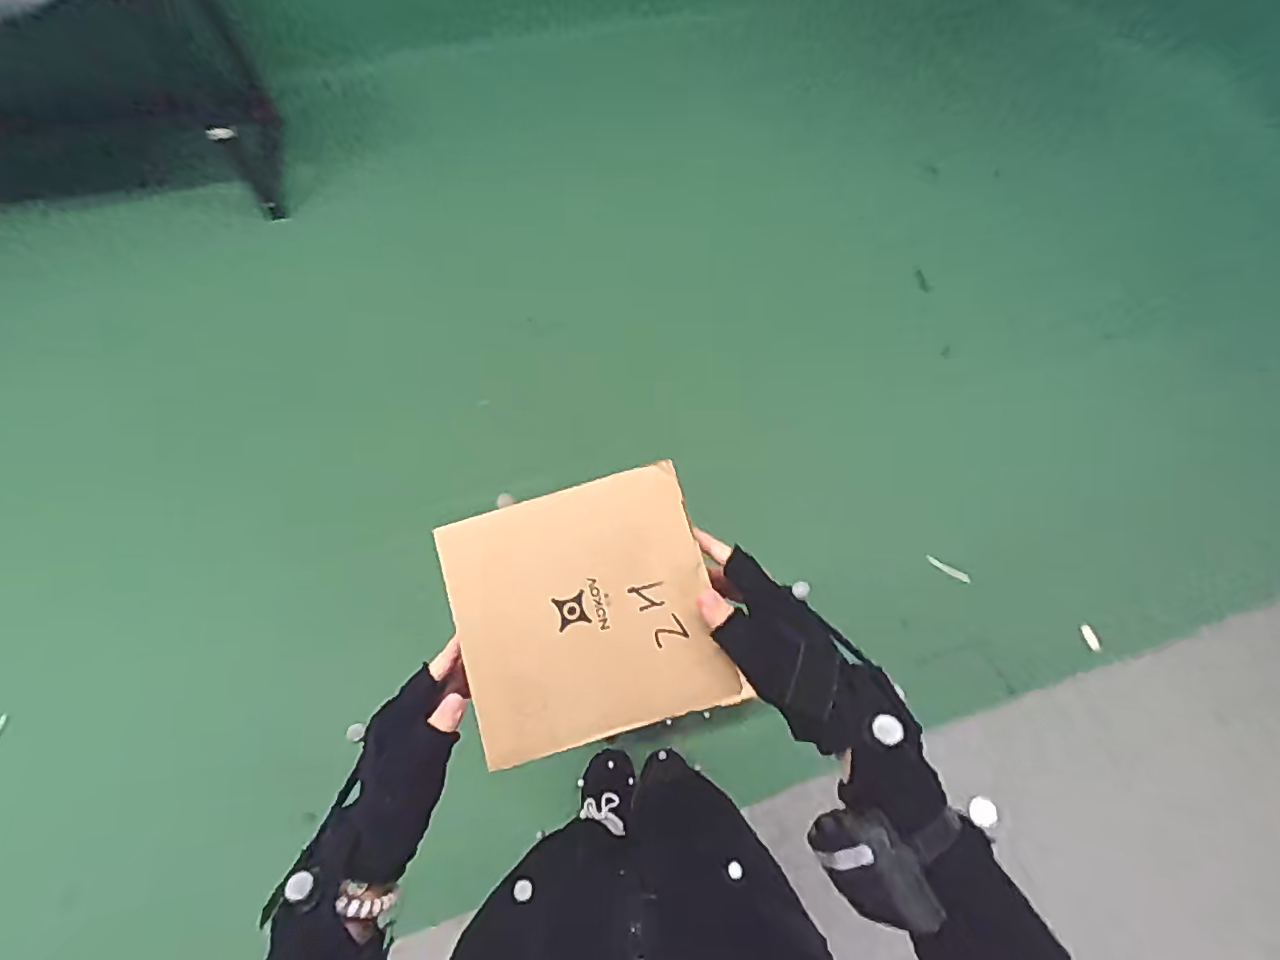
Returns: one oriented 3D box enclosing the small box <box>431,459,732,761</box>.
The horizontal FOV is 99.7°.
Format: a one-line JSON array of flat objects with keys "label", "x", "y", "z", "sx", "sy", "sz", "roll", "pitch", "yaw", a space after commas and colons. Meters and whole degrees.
[{"label": "small box", "x": -0.041, "y": 0.098, "z": 0.446, "sx": 0.179, "sy": 0.176, "sz": 0.168, "roll": -17, "pitch": 81, "yaw": -3}]
